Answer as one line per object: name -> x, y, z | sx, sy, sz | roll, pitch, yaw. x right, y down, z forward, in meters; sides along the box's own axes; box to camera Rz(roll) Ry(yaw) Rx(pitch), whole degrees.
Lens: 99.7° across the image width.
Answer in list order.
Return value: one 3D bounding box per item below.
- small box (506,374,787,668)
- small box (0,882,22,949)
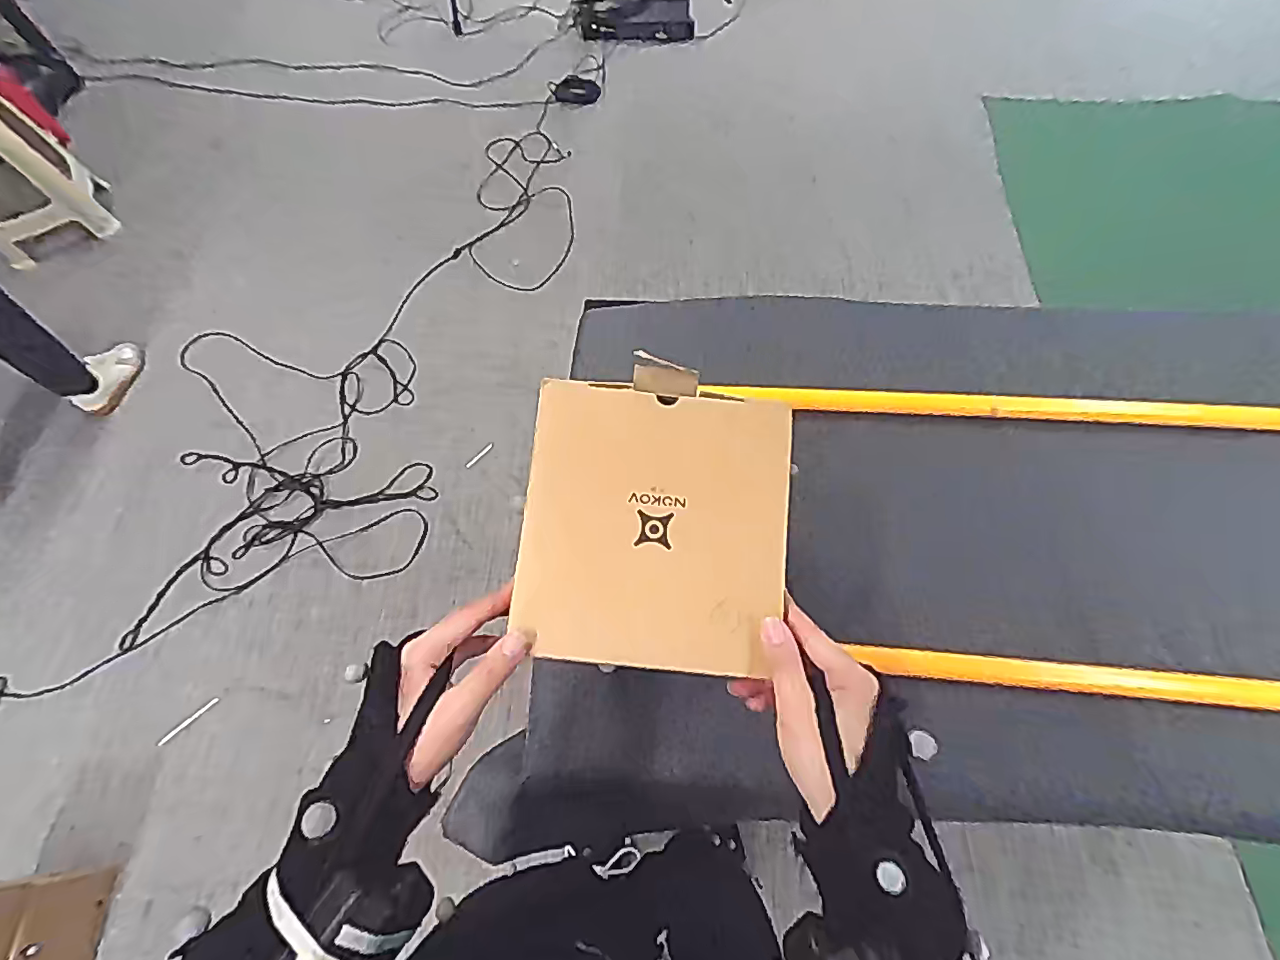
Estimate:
small box -> 0.007, 0.037, 0.417 | 0.168, 0.176, 0.179 | 5, 77, 0
small box -> -1.157, 0.754, 0.844 | 0.168, 0.176, 0.179 | -1, 63, 0
